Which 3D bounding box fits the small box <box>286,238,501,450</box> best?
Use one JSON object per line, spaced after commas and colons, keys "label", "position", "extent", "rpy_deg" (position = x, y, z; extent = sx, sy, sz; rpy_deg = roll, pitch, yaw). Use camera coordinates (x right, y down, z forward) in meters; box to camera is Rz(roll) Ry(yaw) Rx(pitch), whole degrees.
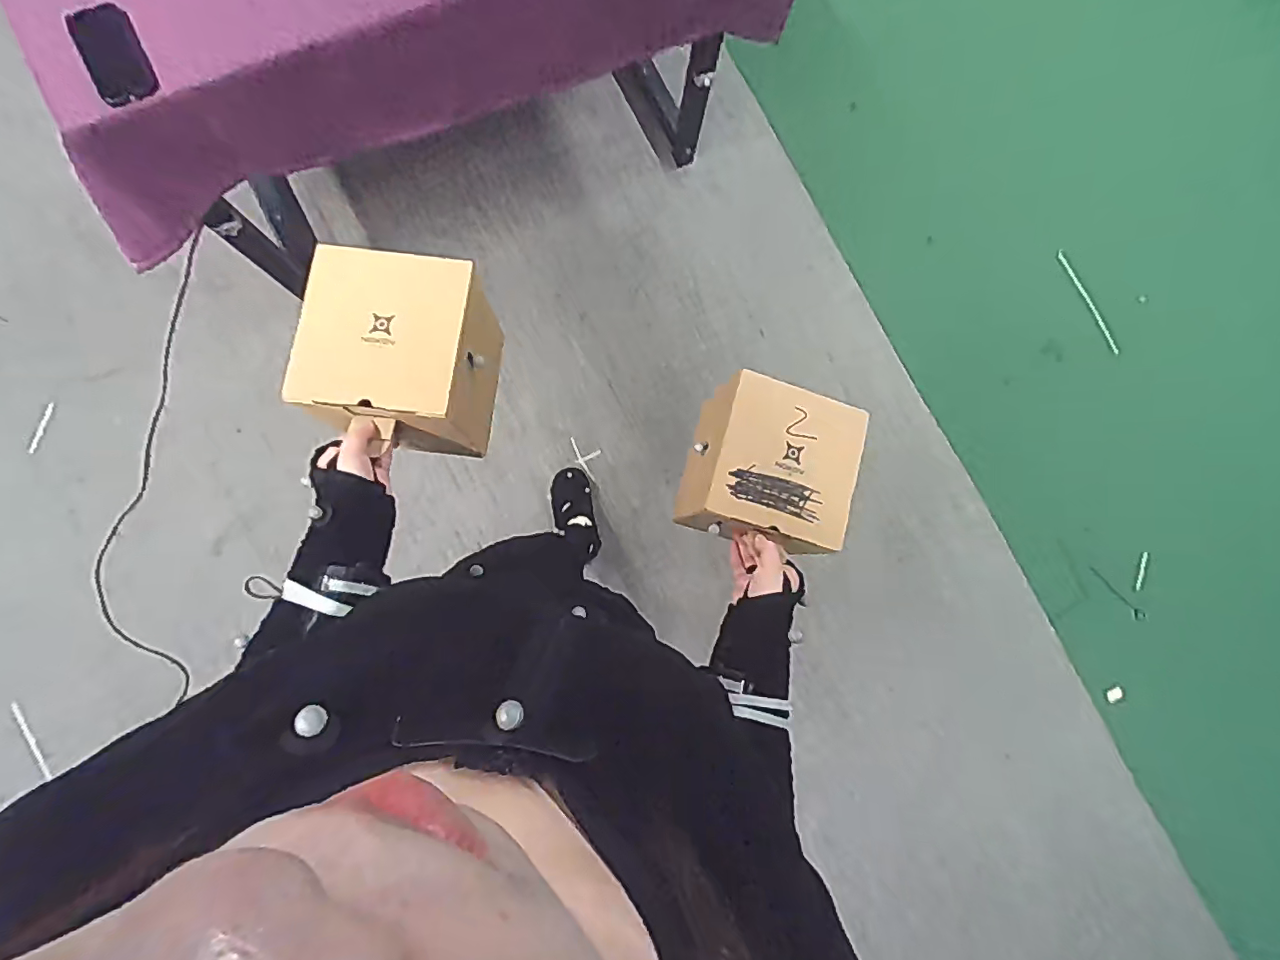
{"label": "small box", "position": [-0.266, -0.146, 0.631], "extent": [0.168, 0.176, 0.179], "rpy_deg": [6, 79, -2]}
